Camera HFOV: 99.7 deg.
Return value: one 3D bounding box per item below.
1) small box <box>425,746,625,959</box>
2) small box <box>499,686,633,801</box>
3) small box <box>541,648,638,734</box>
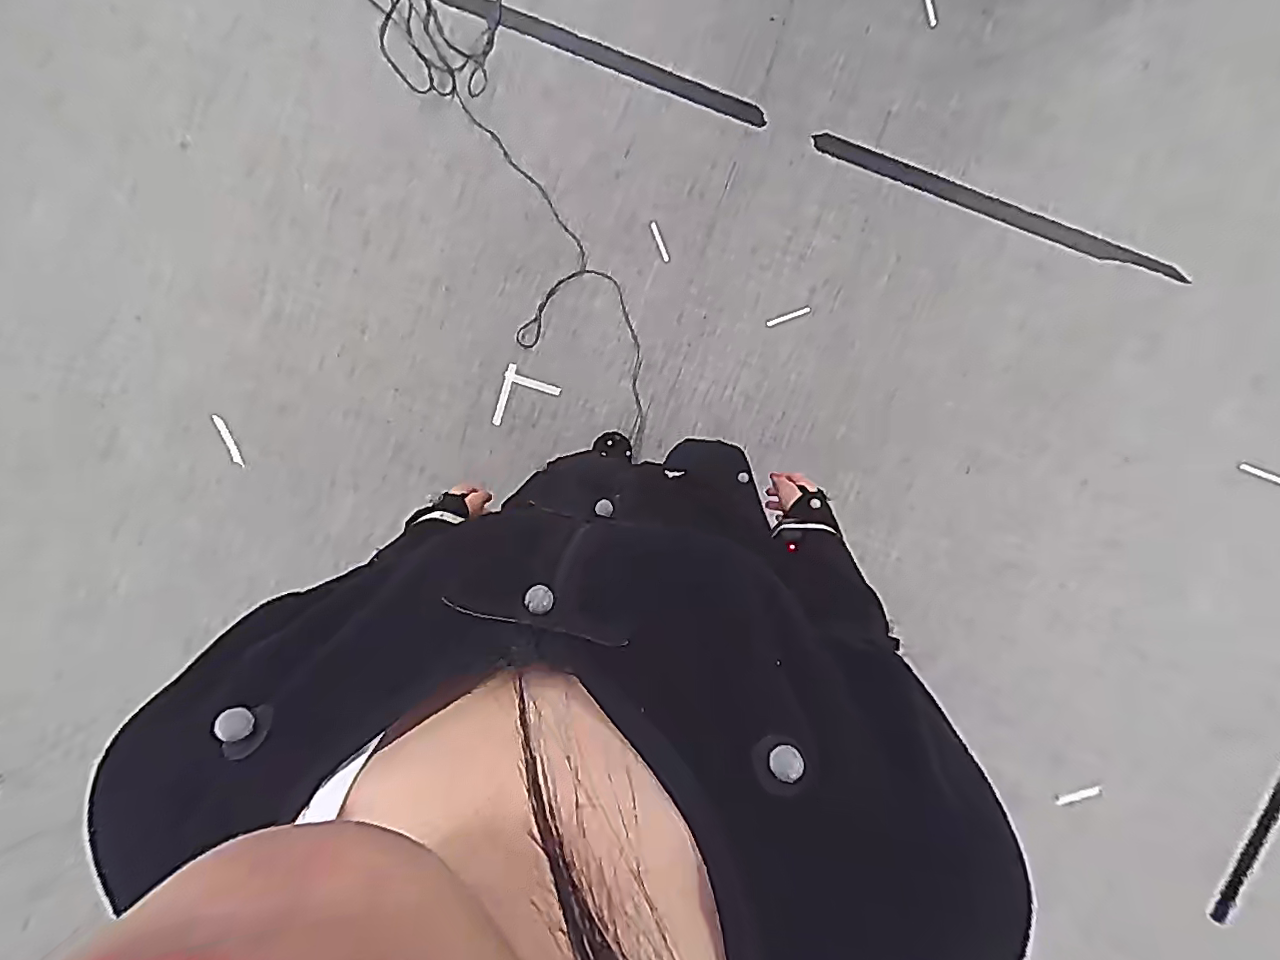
[{"bbox_3d":[-0.123,0.464,0.653,0.168,0.176,0.179,22,97,0],"label":"small box"},{"bbox_3d":[-0.118,0.444,0.814,0.168,0.176,0.179,23,96,-1],"label":"small box"},{"bbox_3d":[-0.113,0.434,0.977,0.168,0.176,0.179,25,94,-1],"label":"small box"}]
